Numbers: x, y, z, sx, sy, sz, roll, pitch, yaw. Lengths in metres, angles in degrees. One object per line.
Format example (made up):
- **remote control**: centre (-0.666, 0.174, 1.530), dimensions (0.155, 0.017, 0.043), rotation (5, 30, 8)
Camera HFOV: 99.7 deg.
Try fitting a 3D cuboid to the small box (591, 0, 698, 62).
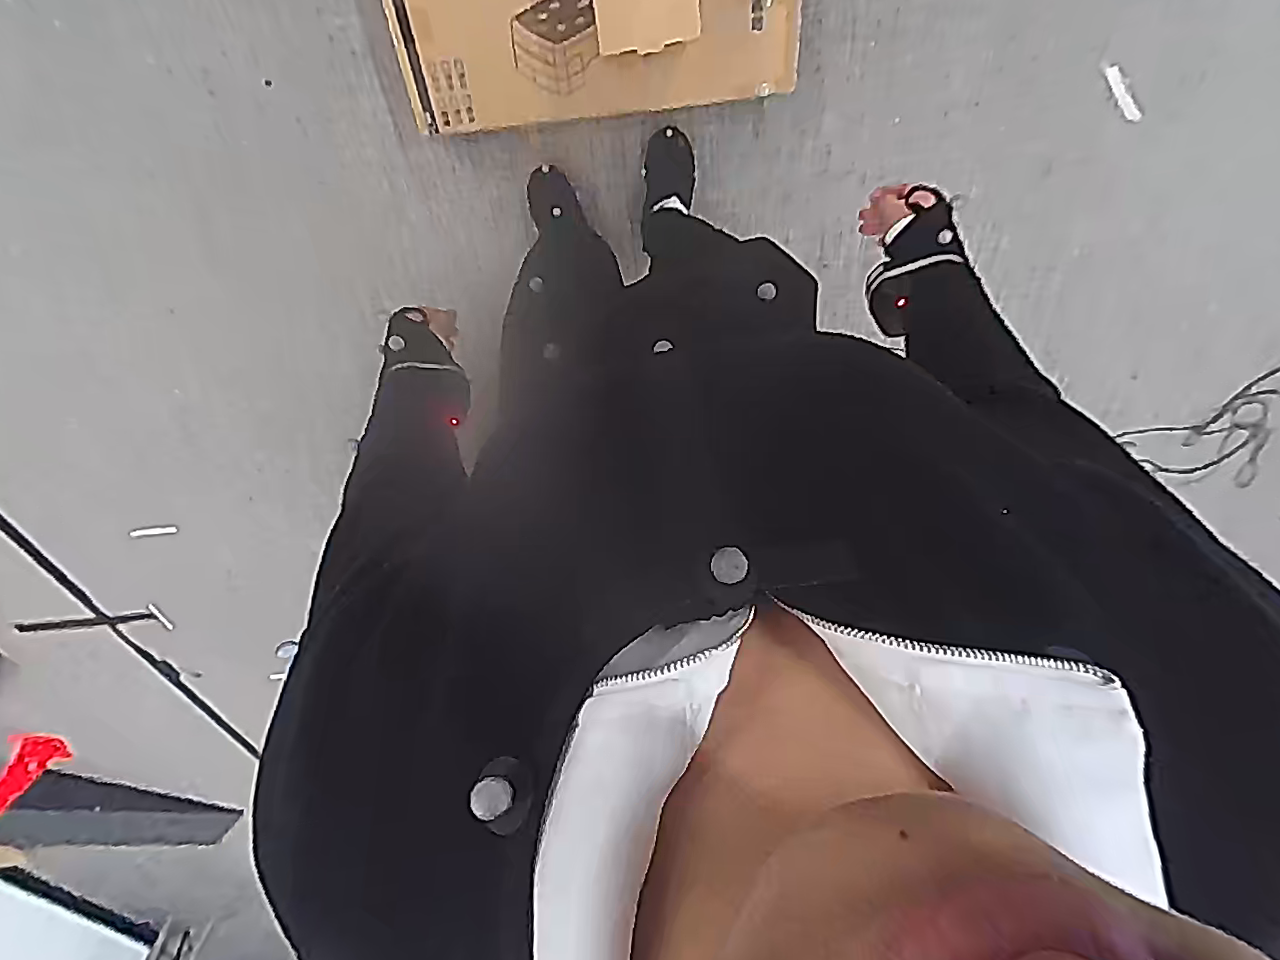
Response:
- **small box**: centre (0.001, -0.807, 0.885), dimensions (0.168, 0.176, 0.179), rotation (-8, 127, 2)
